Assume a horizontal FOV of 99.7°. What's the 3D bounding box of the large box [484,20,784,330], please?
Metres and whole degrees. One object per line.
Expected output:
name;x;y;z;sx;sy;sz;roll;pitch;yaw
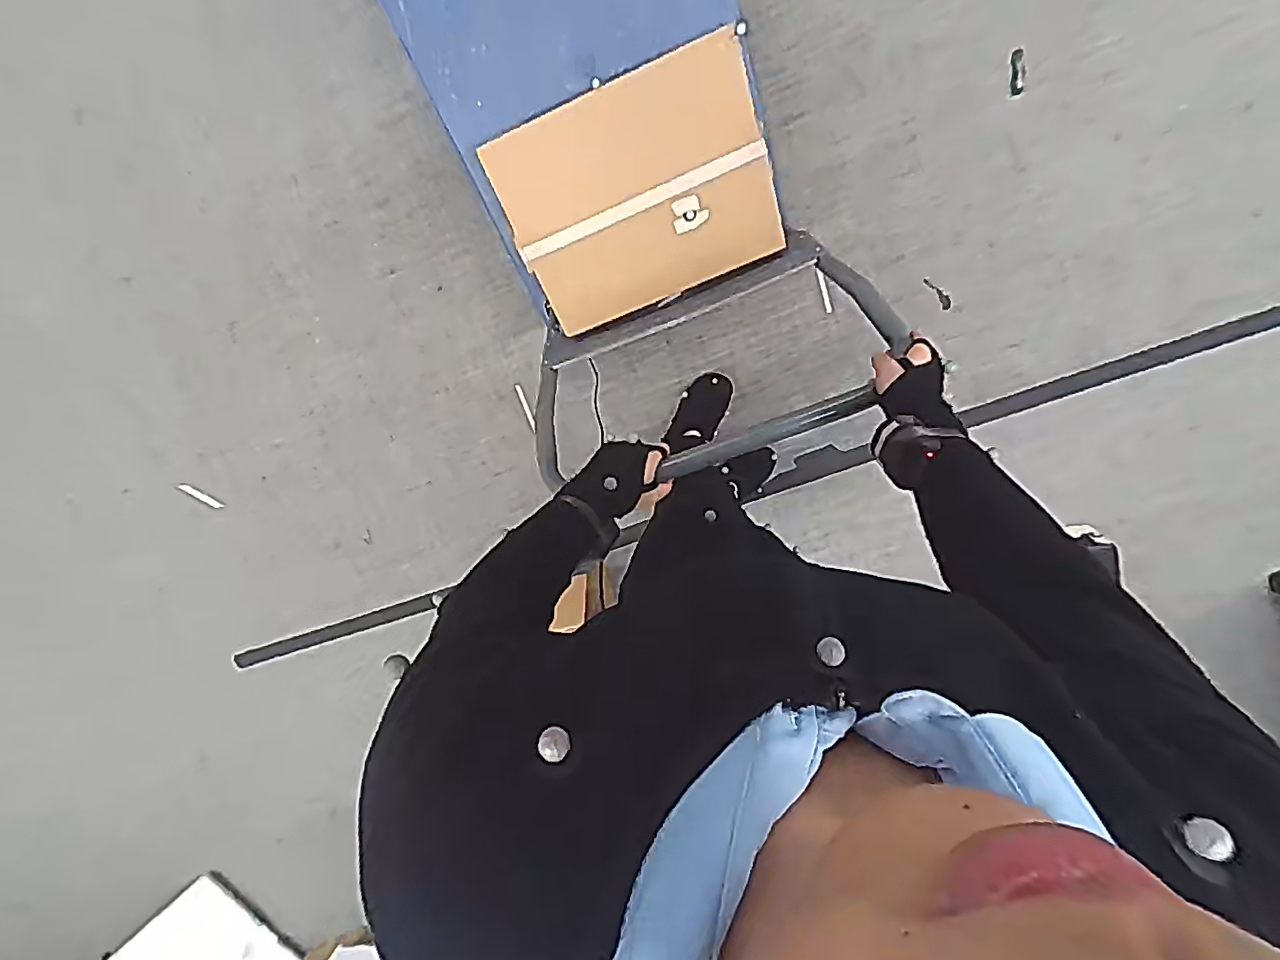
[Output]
large box;-0.008;-0.530;0.978;0.408;0.320;0.320;-21;124;9
